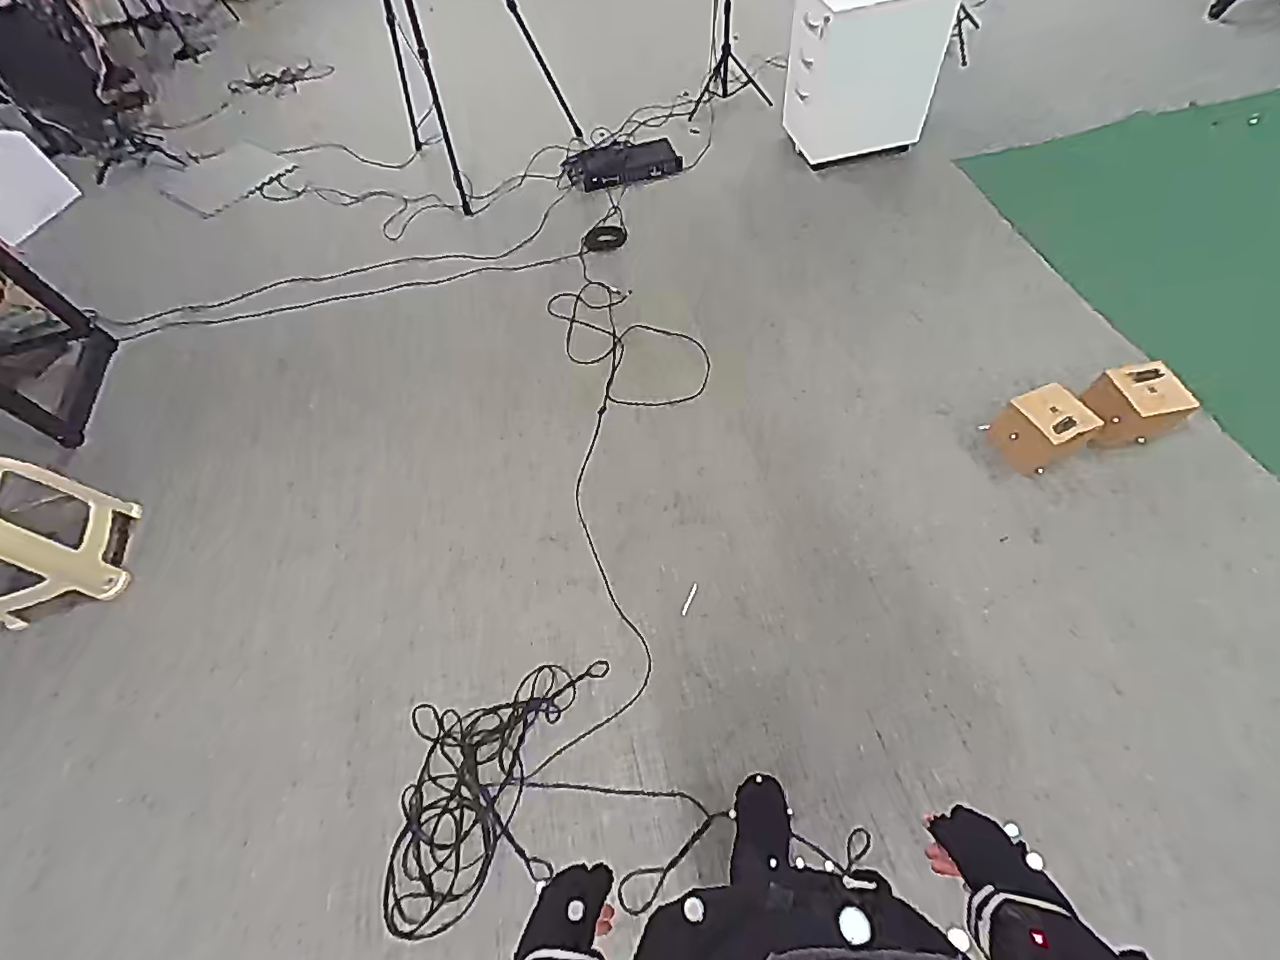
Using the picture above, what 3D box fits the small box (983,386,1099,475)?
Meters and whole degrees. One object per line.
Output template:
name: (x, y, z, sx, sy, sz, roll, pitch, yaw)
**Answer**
small box: (1.151, -0.134, 1.567, 0.168, 0.176, 0.179, -21, 57, -7)
